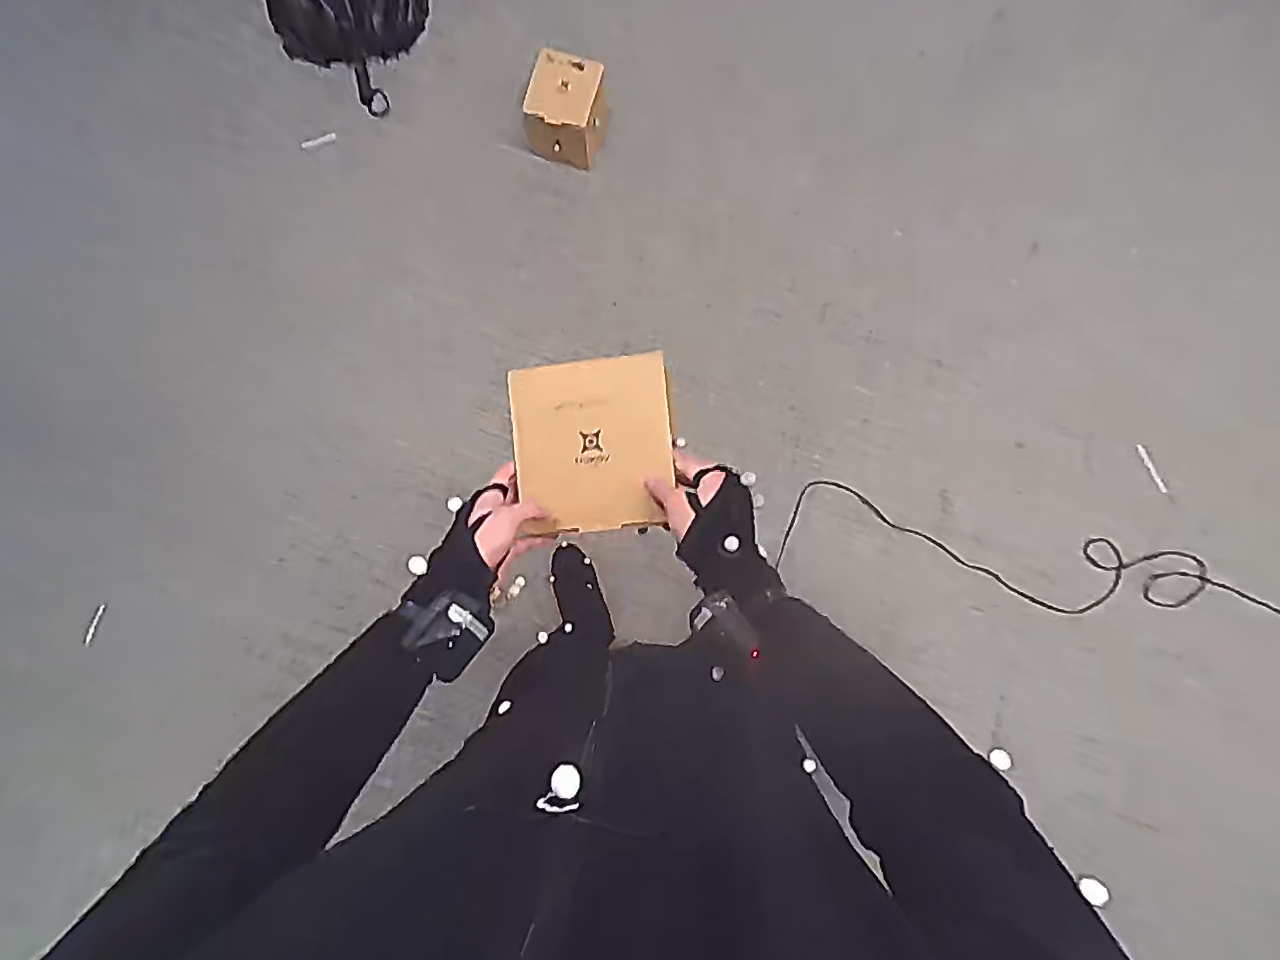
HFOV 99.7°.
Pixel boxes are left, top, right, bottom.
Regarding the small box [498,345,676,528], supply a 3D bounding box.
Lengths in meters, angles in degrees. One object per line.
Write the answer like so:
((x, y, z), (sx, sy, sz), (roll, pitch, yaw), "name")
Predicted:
((-0.050, -0.043, 0.633), (0.168, 0.176, 0.179), (-6, 88, 7), "small box")

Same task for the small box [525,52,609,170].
((-0.183, -0.957, 1.419), (0.168, 0.176, 0.179), (17, 87, 1), "small box")
